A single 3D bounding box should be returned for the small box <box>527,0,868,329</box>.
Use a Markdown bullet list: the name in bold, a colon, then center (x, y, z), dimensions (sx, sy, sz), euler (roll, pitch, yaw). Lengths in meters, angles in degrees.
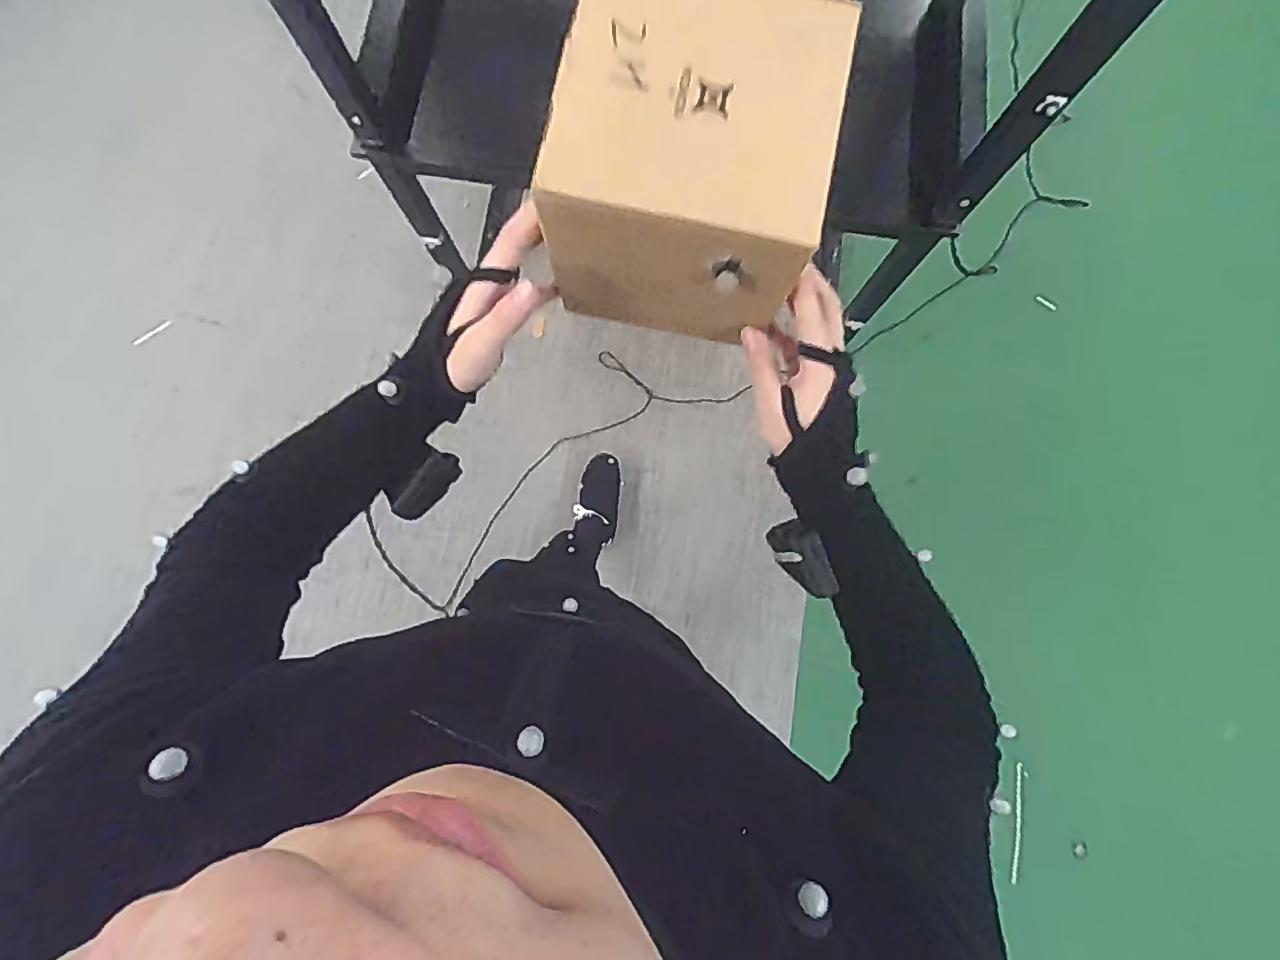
- **small box**: center (0.036, -0.228, 0.399), dimensions (0.179, 0.176, 0.168), euler (12, 84, 2)
